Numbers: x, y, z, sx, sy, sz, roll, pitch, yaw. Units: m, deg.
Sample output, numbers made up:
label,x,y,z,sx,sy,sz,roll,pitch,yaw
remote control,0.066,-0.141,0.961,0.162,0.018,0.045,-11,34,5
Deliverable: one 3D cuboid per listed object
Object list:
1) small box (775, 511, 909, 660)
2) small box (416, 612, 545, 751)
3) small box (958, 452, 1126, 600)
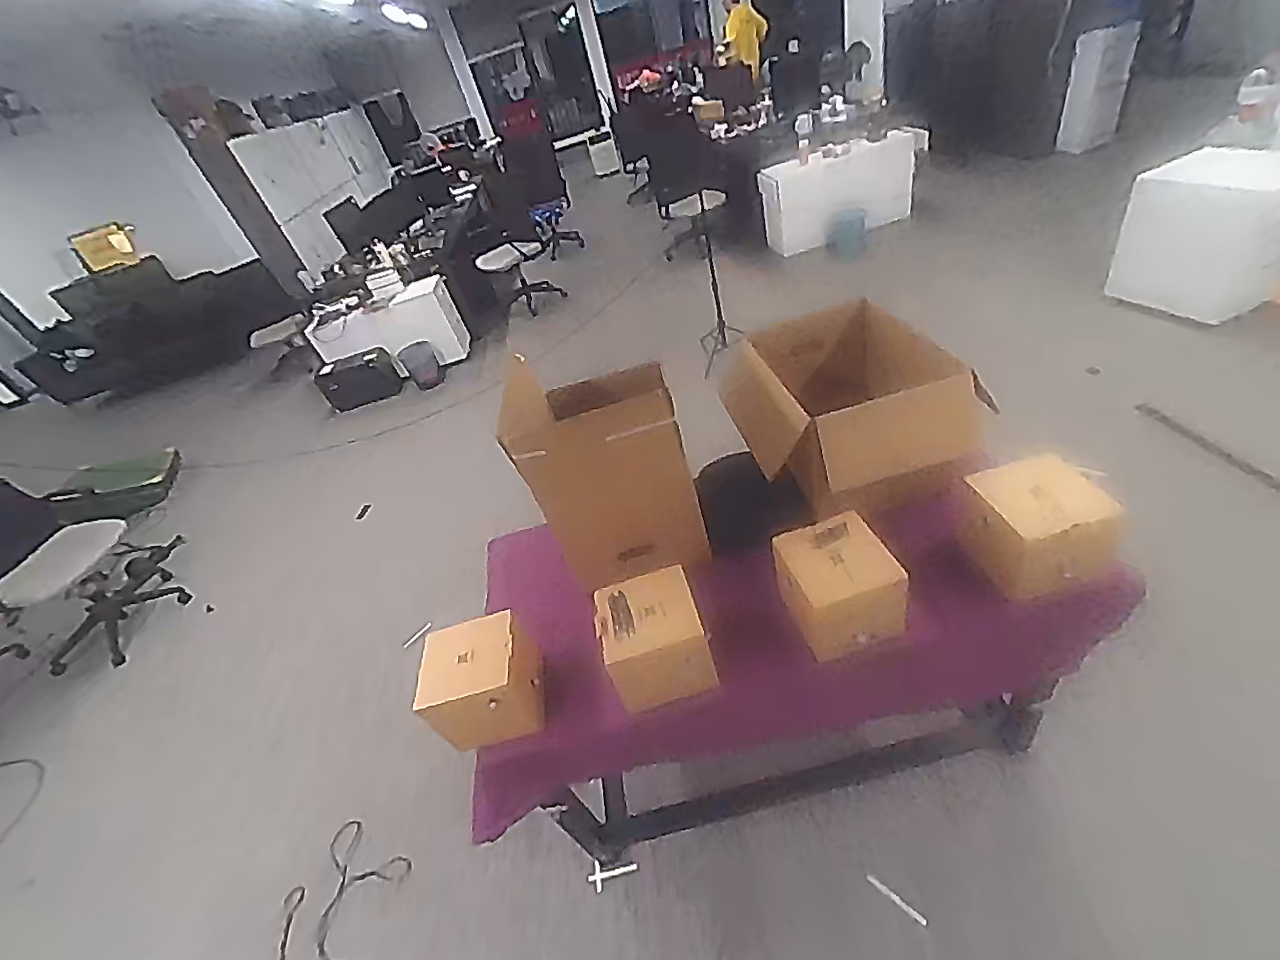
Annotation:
label,x,y,z,sx,sy,sz,roll,pitch,yaw
small box,0.362,0.193,0.990,0.168,0.176,0.179,-20,39,0
small box,-0.293,0.387,1.031,0.179,0.176,0.168,-16,38,1
small box,0.704,0.083,0.975,0.168,0.176,0.179,-18,38,4
